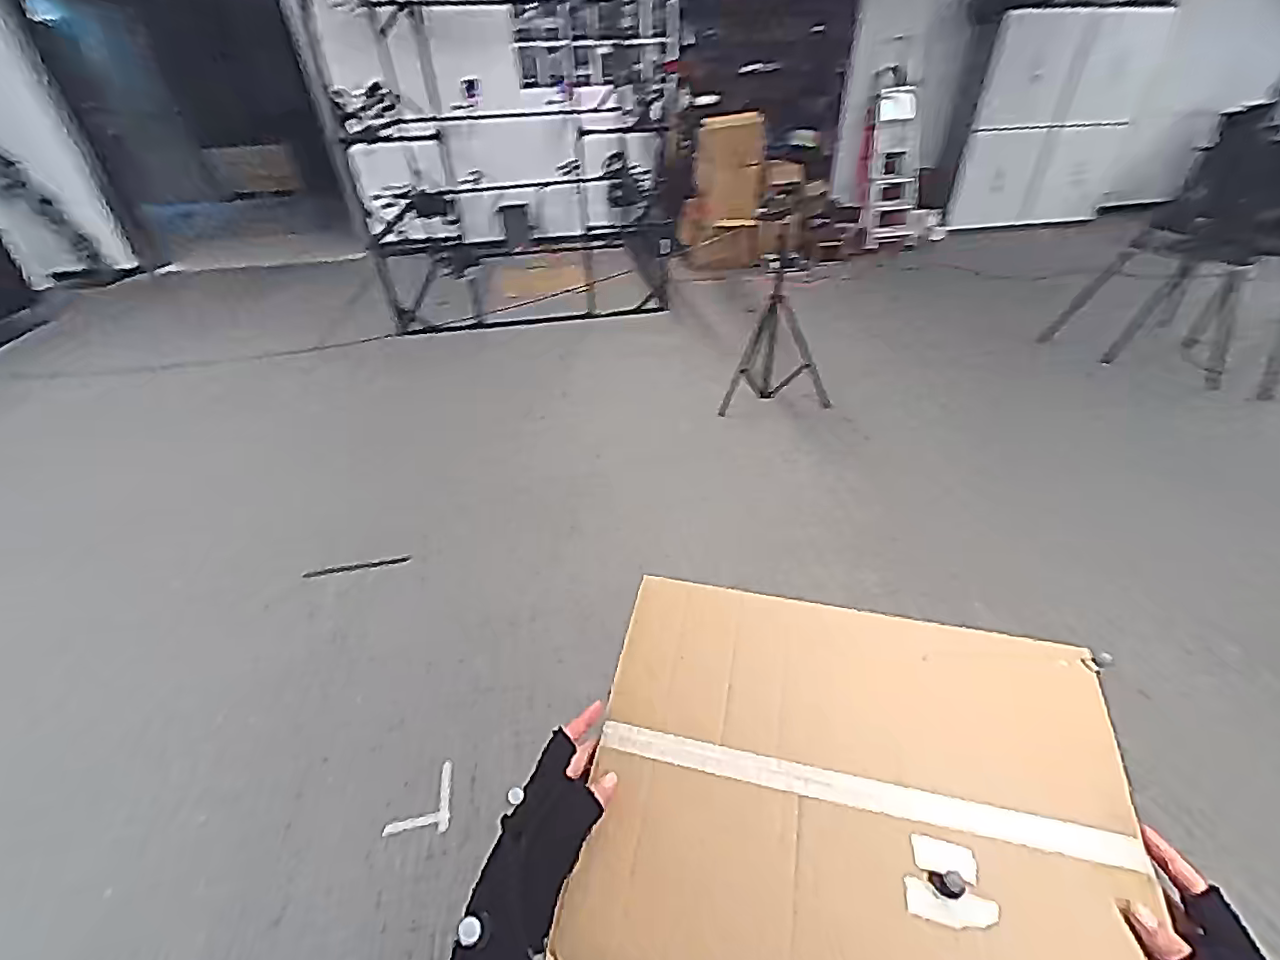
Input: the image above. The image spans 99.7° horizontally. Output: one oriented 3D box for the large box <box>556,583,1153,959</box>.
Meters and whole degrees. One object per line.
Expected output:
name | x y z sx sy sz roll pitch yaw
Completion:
large box | 0.171 0.336 0.552 0.408 0.320 0.320 6 53 11
